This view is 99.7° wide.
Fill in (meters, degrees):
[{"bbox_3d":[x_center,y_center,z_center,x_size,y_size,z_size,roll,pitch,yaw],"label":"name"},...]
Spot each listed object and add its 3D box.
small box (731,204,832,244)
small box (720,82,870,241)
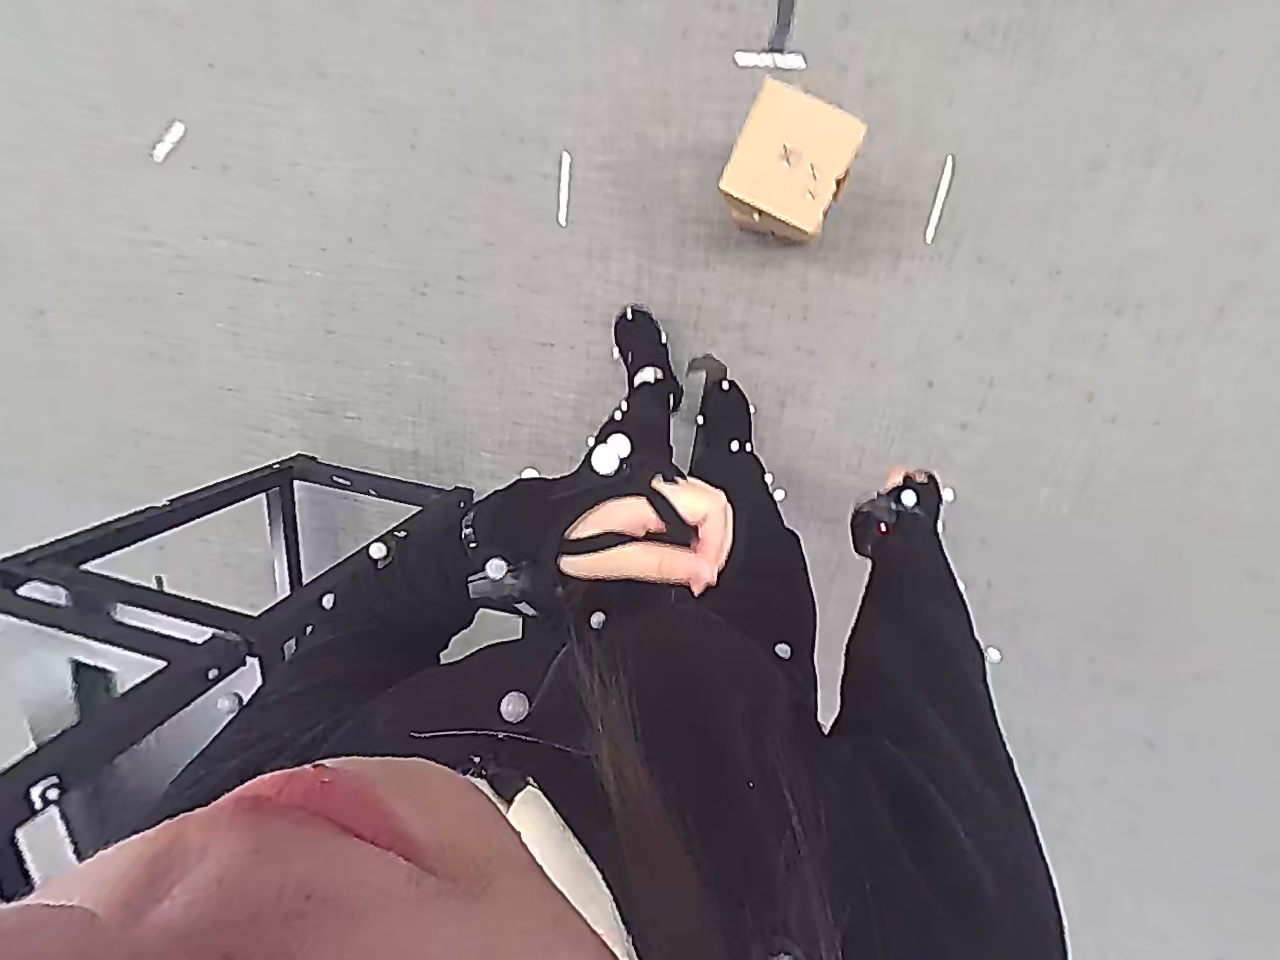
[{"bbox_3d":[0.290,-0.576,1.076,0.179,0.176,0.168,16,111,6],"label":"small box"},{"bbox_3d":[0.256,-0.526,0.923,0.179,0.176,0.168,28,113,2],"label":"small box"}]
